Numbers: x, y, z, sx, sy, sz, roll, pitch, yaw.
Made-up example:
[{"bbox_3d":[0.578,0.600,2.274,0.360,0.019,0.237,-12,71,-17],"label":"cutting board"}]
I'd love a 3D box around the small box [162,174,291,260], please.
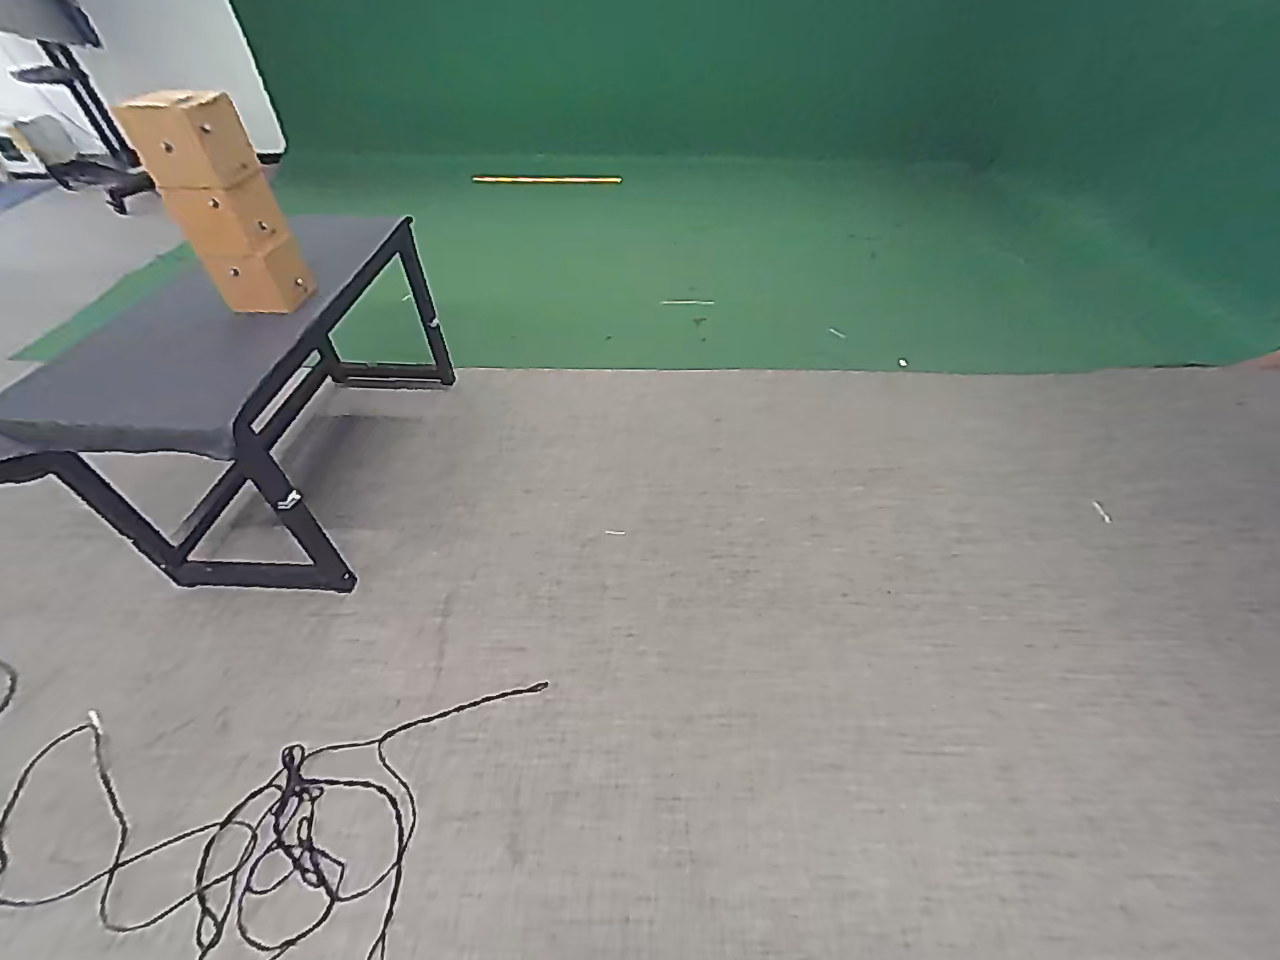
[{"bbox_3d":[-1.085,-0.698,1.437,0.179,0.176,0.168,2,45,3],"label":"small box"}]

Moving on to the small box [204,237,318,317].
[{"bbox_3d":[-1.074,-0.582,1.550,0.179,0.176,0.168,2,46,3],"label":"small box"}]
